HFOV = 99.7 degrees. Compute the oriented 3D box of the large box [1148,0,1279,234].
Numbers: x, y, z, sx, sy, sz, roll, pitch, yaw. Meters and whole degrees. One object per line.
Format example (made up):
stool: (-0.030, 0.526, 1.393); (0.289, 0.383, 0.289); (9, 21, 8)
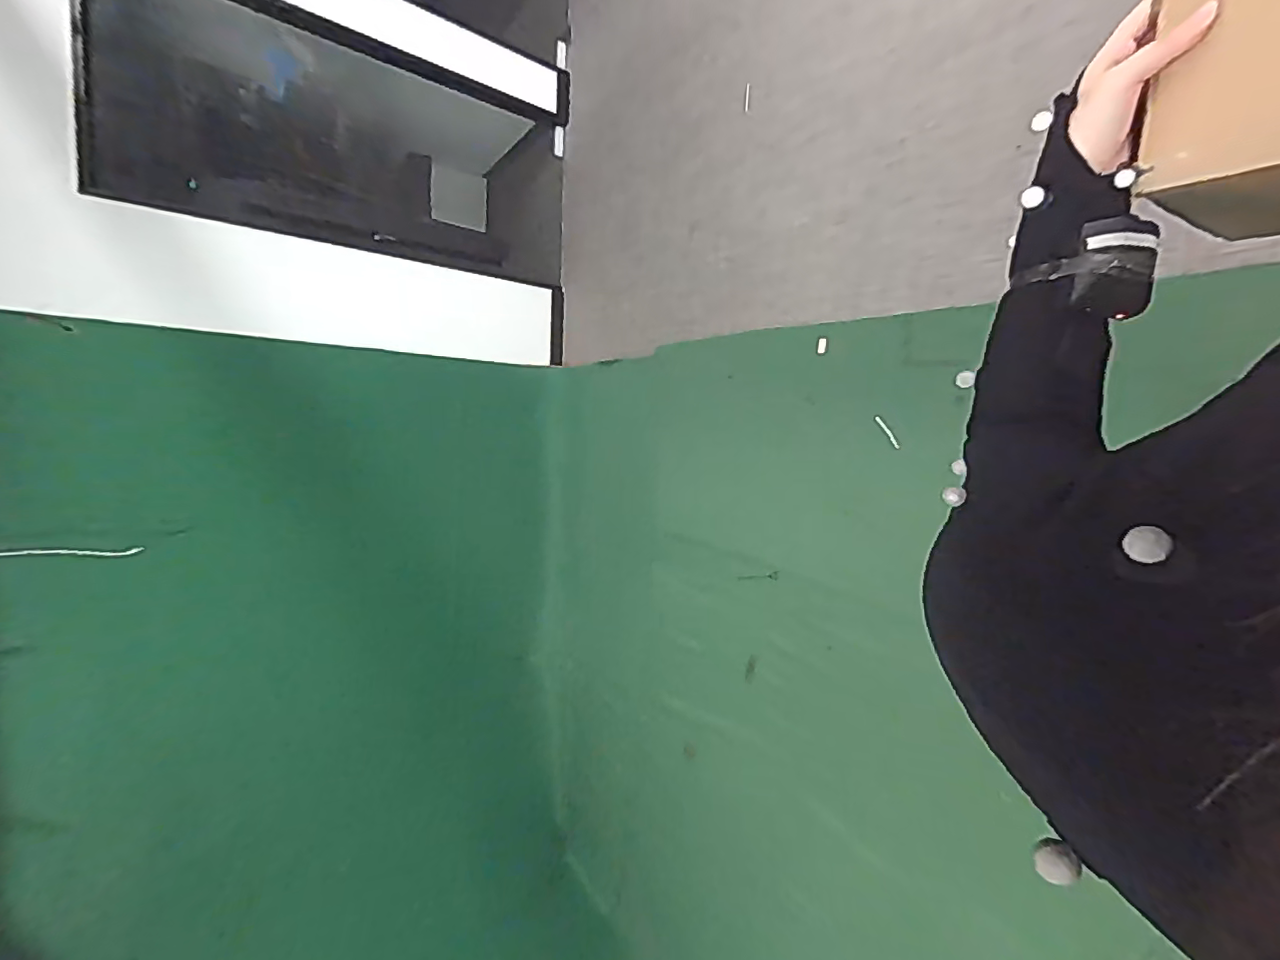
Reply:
large box: (0.617, -0.359, 0.303); (0.408, 0.320, 0.320); (15, 109, 56)
